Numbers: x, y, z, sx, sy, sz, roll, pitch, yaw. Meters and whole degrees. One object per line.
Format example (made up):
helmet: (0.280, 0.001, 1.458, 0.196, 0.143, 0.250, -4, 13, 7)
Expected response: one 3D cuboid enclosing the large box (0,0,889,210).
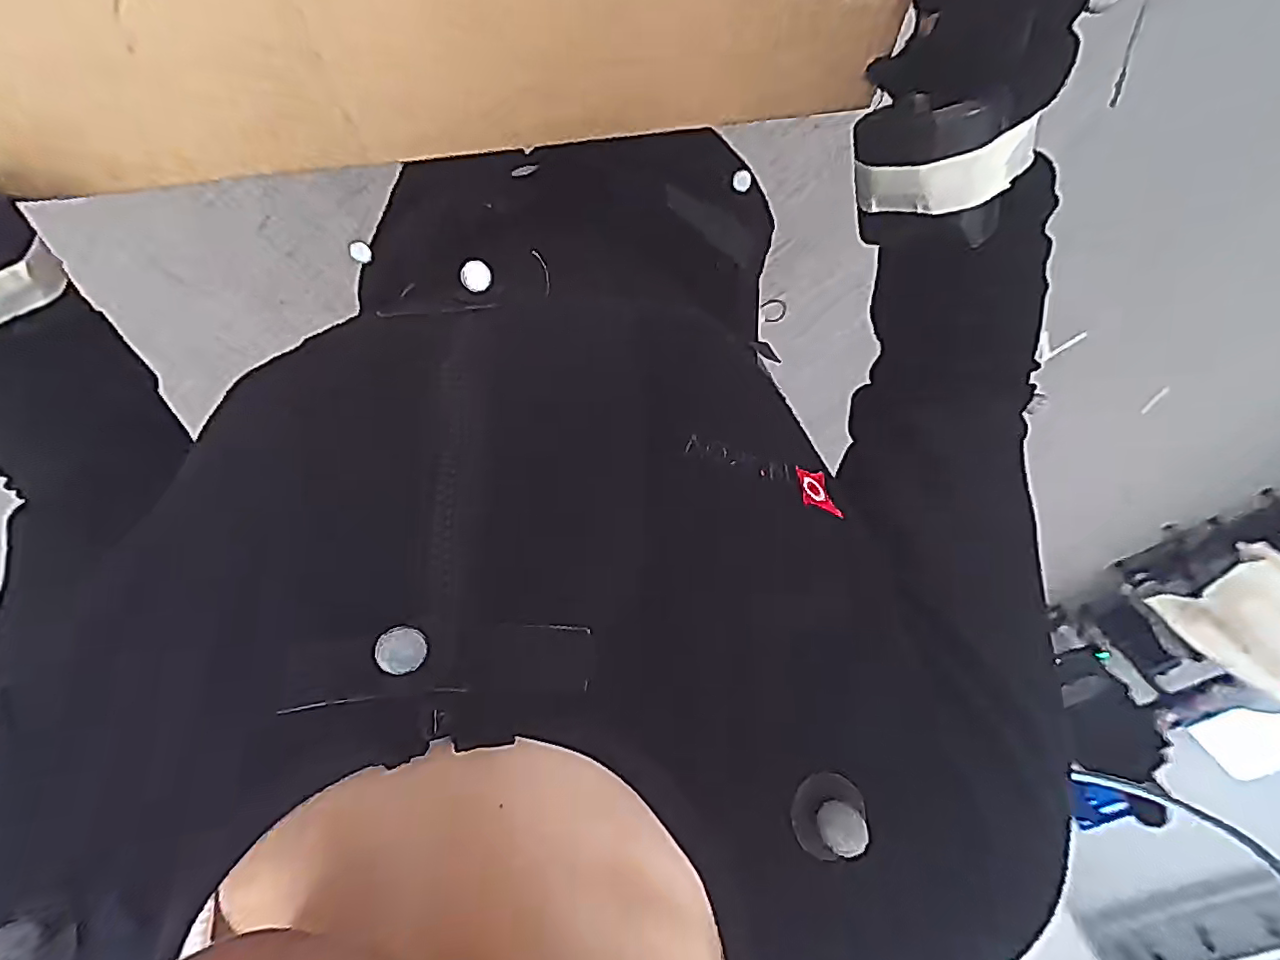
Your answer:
large box: (-0.112, -0.354, 0.181, 0.408, 0.320, 0.320, -9, 157, -3)
